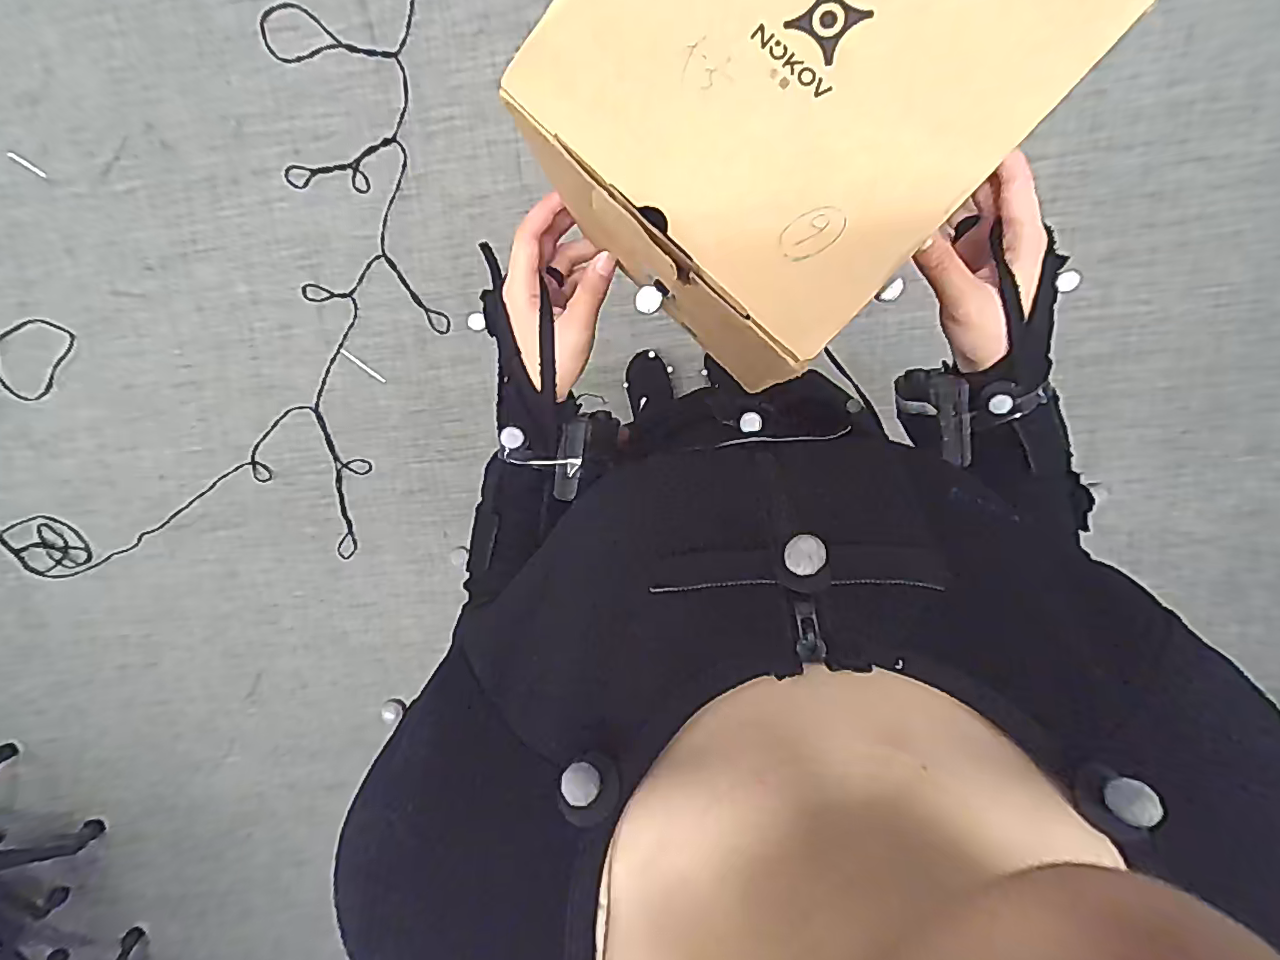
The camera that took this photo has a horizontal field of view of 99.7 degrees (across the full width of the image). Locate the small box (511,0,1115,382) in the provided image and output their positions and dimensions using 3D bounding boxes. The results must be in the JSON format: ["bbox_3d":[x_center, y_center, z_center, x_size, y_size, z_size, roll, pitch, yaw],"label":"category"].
[{"bbox_3d":[0.069,-0.169,0.291,0.168,0.176,0.179,43,98,0],"label":"small box"}]
